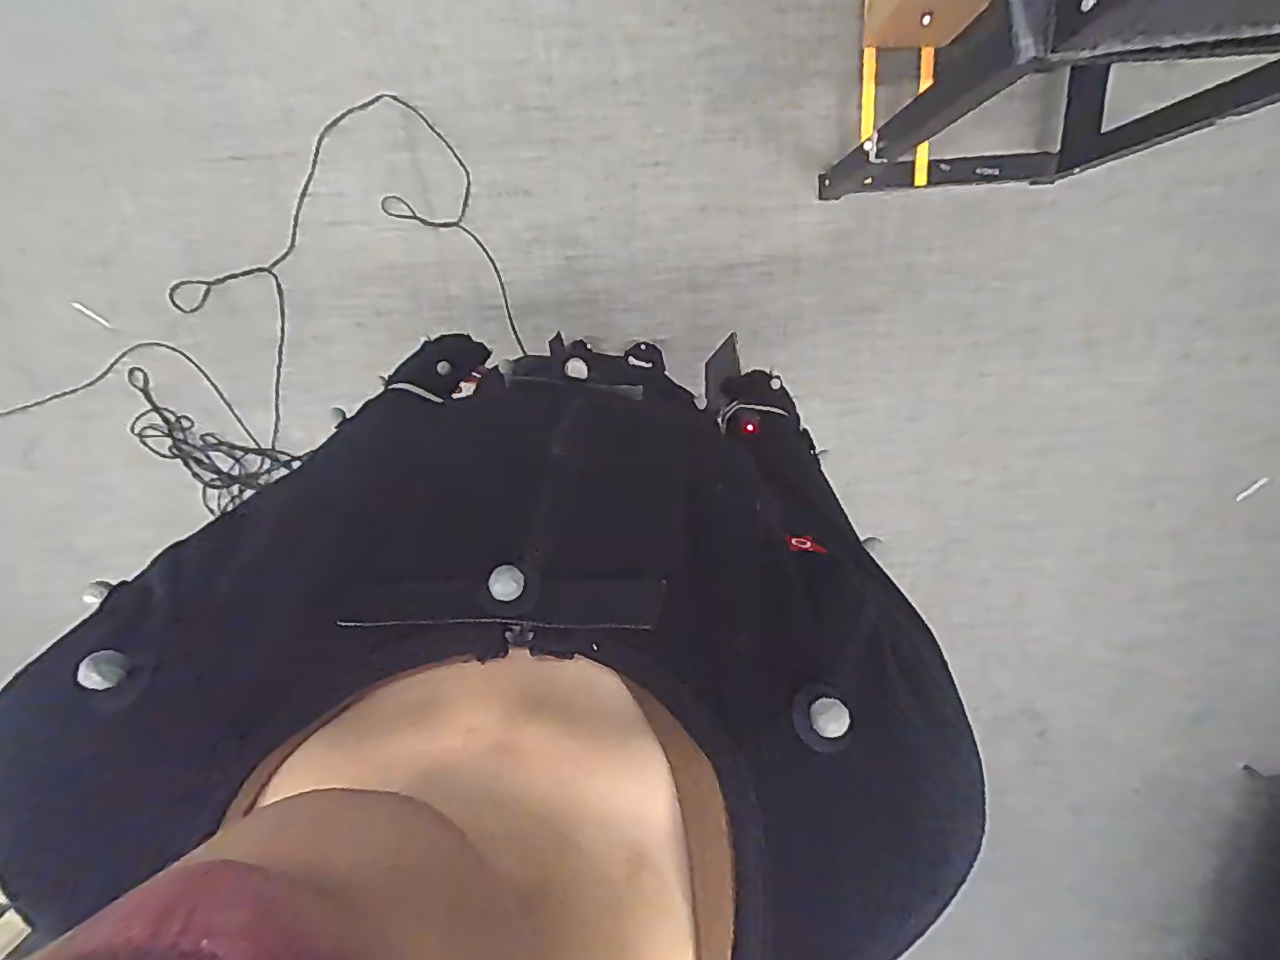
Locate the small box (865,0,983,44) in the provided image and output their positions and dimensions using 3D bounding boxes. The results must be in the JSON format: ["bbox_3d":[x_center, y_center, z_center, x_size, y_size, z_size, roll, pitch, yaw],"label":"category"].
[{"bbox_3d":[0.558,-0.986,1.051,0.179,0.176,0.168,0,105,-1],"label":"small box"}]
